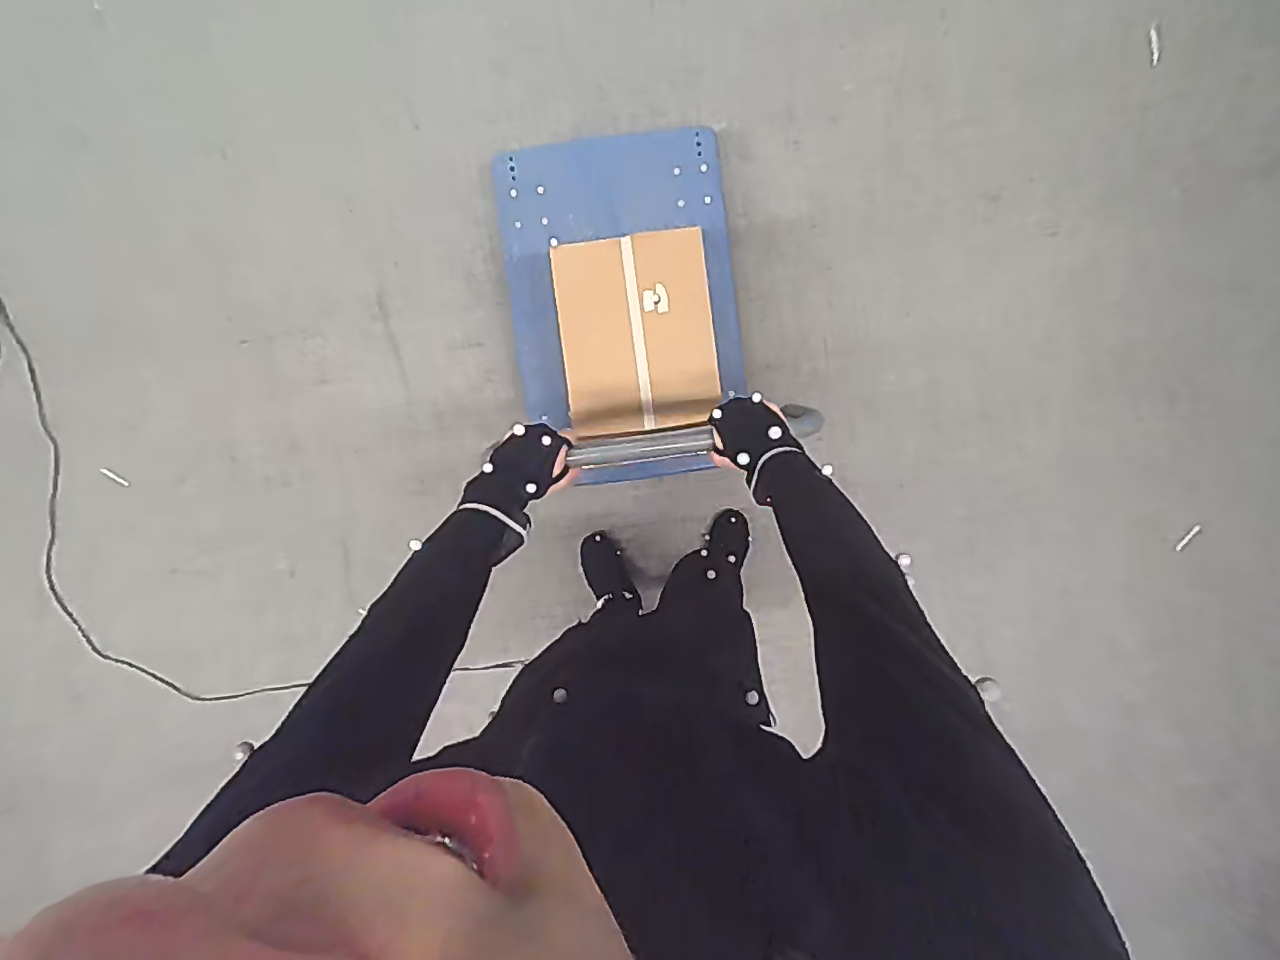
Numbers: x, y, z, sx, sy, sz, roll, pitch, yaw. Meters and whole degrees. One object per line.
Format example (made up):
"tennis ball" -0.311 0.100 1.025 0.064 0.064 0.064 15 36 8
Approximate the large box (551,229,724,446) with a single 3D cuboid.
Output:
"large box" -0.003 -0.300 1.253 0.320 0.320 0.408 -7 92 0
